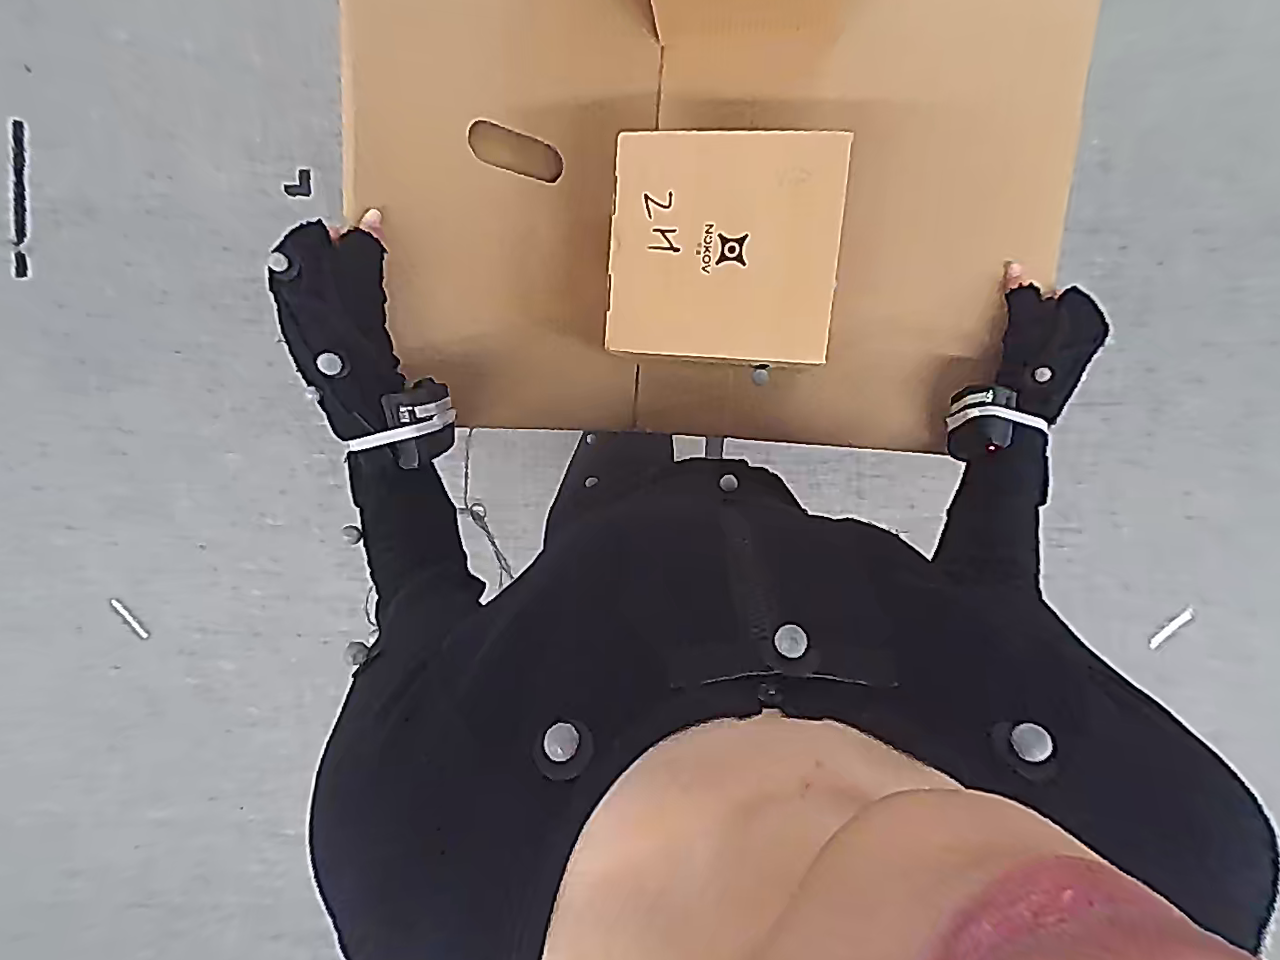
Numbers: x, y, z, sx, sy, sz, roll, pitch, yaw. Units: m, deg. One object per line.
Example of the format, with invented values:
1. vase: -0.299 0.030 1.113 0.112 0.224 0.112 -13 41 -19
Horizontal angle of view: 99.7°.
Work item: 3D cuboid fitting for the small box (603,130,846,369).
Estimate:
1. small box: 0.074 -0.195 0.501 0.179 0.176 0.168 6 98 9
